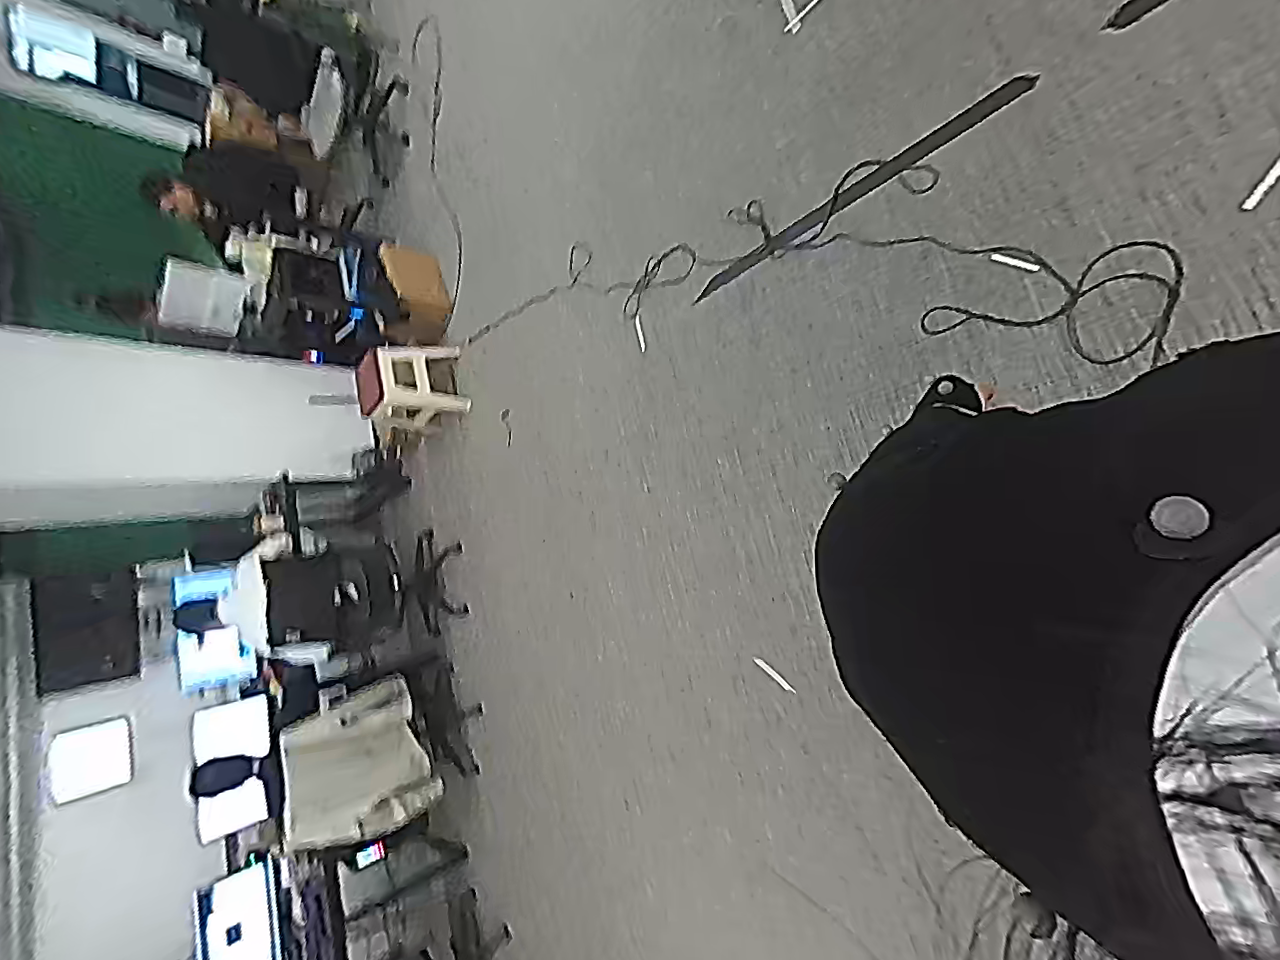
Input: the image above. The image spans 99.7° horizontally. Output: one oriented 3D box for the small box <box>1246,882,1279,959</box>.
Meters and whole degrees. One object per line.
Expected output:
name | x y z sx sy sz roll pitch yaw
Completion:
small box | 0.807 0.589 0.585 0.168 0.176 0.179 -22 75 44
